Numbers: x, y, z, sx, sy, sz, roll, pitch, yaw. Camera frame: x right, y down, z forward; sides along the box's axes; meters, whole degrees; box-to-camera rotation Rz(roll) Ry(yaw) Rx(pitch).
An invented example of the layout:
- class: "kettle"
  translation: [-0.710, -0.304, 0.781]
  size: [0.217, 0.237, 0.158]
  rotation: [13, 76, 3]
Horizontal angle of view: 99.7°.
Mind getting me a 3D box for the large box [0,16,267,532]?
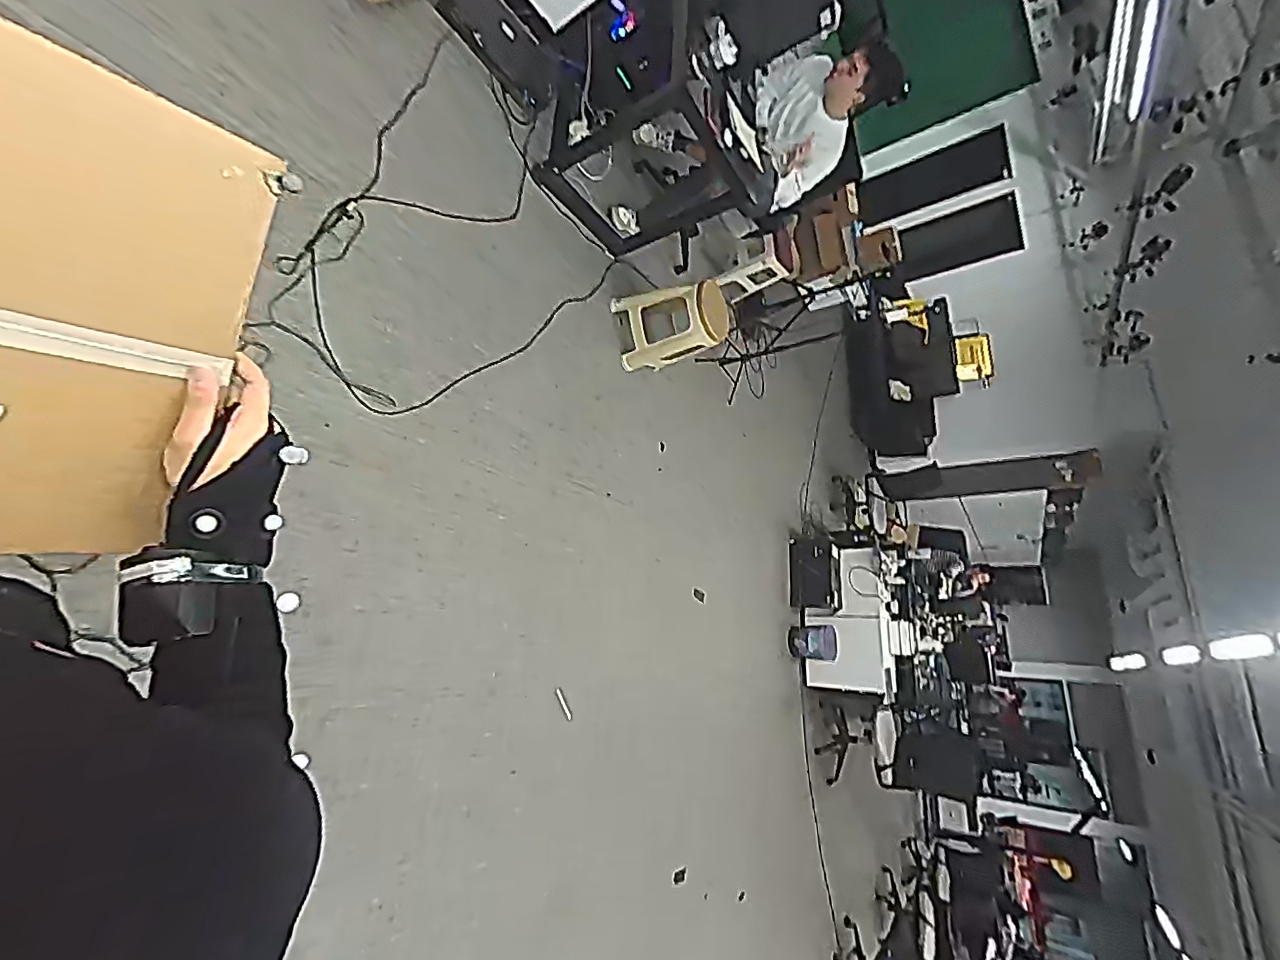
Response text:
- class: "large box"
  translation: [-0.544, -0.172, 0.335]
  size: [0.408, 0.320, 0.320]
  rotation: [7, 112, -54]
